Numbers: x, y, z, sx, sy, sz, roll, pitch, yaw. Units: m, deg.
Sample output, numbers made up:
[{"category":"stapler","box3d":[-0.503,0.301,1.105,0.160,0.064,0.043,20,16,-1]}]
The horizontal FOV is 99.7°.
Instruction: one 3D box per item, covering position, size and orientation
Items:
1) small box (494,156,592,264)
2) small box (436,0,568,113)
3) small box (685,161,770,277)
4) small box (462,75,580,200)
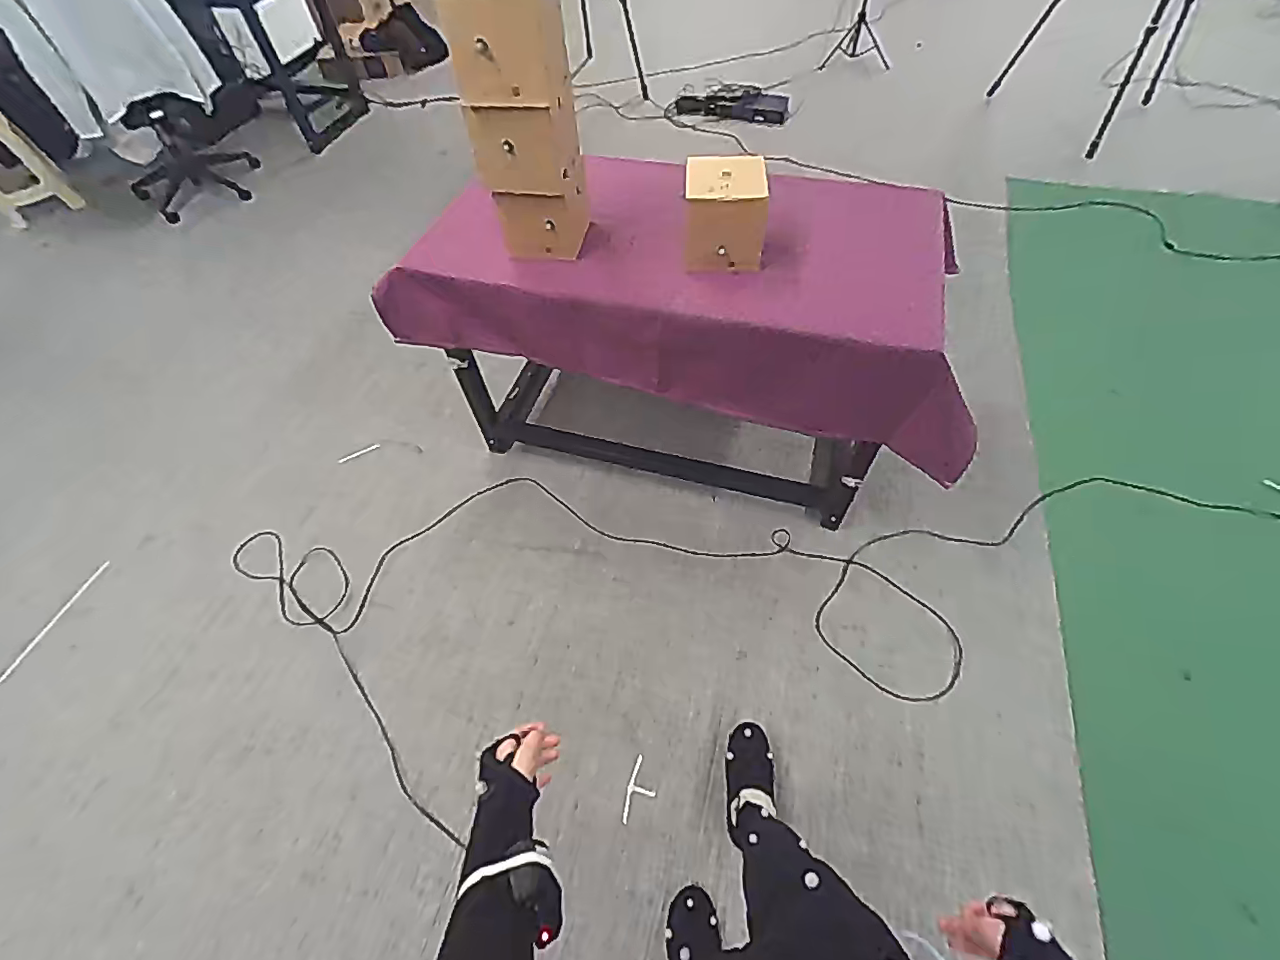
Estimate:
[{"category":"small box","box3d":[-0.212,-0.621,1.246,0.168,0.176,0.179,7,55,7]},{"category":"small box","box3d":[-0.230,-0.775,0.956,0.168,0.176,0.179,4,55,5]},{"category":"small box","box3d":[0.186,-0.571,1.183,0.168,0.176,0.179,2,55,5]},{"category":"small box","box3d":[-0.228,-0.694,1.098,0.179,0.176,0.168,7,56,8]}]
